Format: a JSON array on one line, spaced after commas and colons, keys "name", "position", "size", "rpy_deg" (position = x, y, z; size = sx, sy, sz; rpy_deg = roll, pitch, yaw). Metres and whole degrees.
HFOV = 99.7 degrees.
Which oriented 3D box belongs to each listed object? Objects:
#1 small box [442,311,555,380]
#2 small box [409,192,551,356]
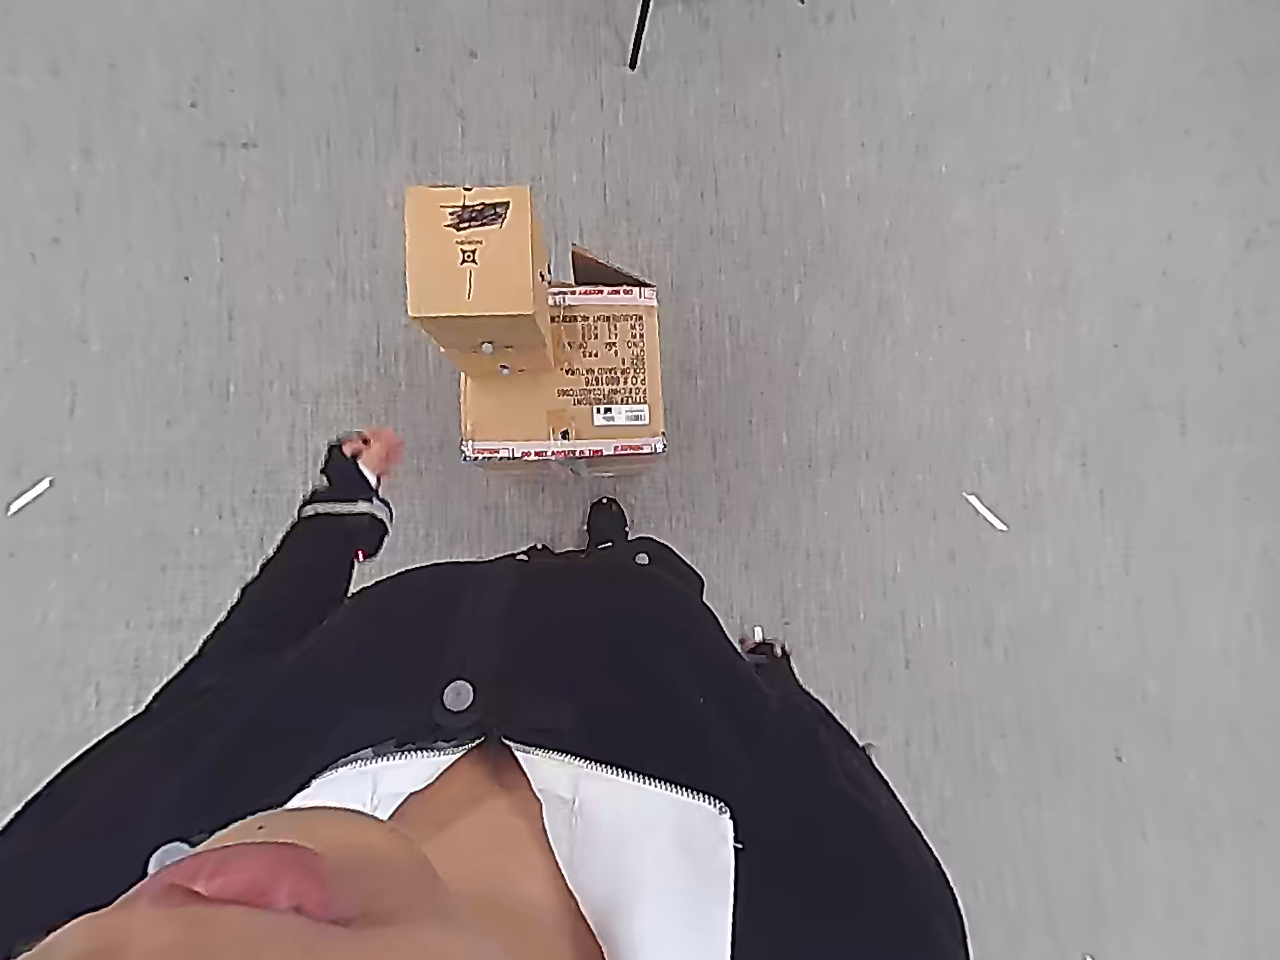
[{"name": "small box", "position": [-0.246, -0.285, 0.952], "size": [0.168, 0.176, 0.179], "rpy_deg": [-5, 88, -2]}, {"name": "small box", "position": [-0.223, -0.290, 0.788], "size": [0.168, 0.176, 0.179], "rpy_deg": [-2, 88, -2]}]
